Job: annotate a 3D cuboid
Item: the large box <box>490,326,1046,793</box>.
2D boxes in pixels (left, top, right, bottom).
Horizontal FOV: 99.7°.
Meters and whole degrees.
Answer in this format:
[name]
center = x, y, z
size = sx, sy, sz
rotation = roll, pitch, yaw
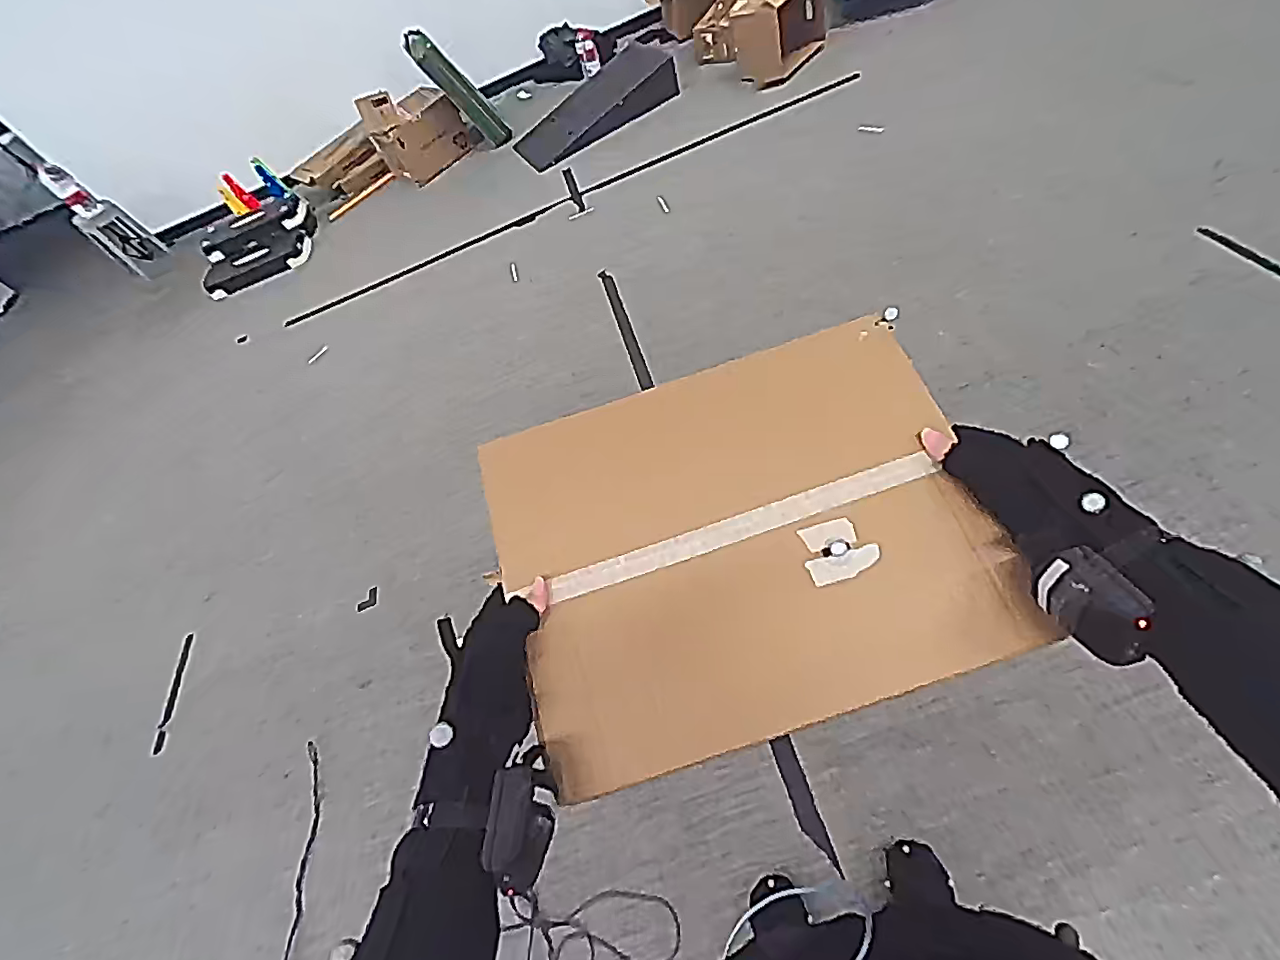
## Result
[large box]
center = 0.100, 0.100, 0.608
size = 0.408, 0.320, 0.320
rotation = -19, 67, -1
